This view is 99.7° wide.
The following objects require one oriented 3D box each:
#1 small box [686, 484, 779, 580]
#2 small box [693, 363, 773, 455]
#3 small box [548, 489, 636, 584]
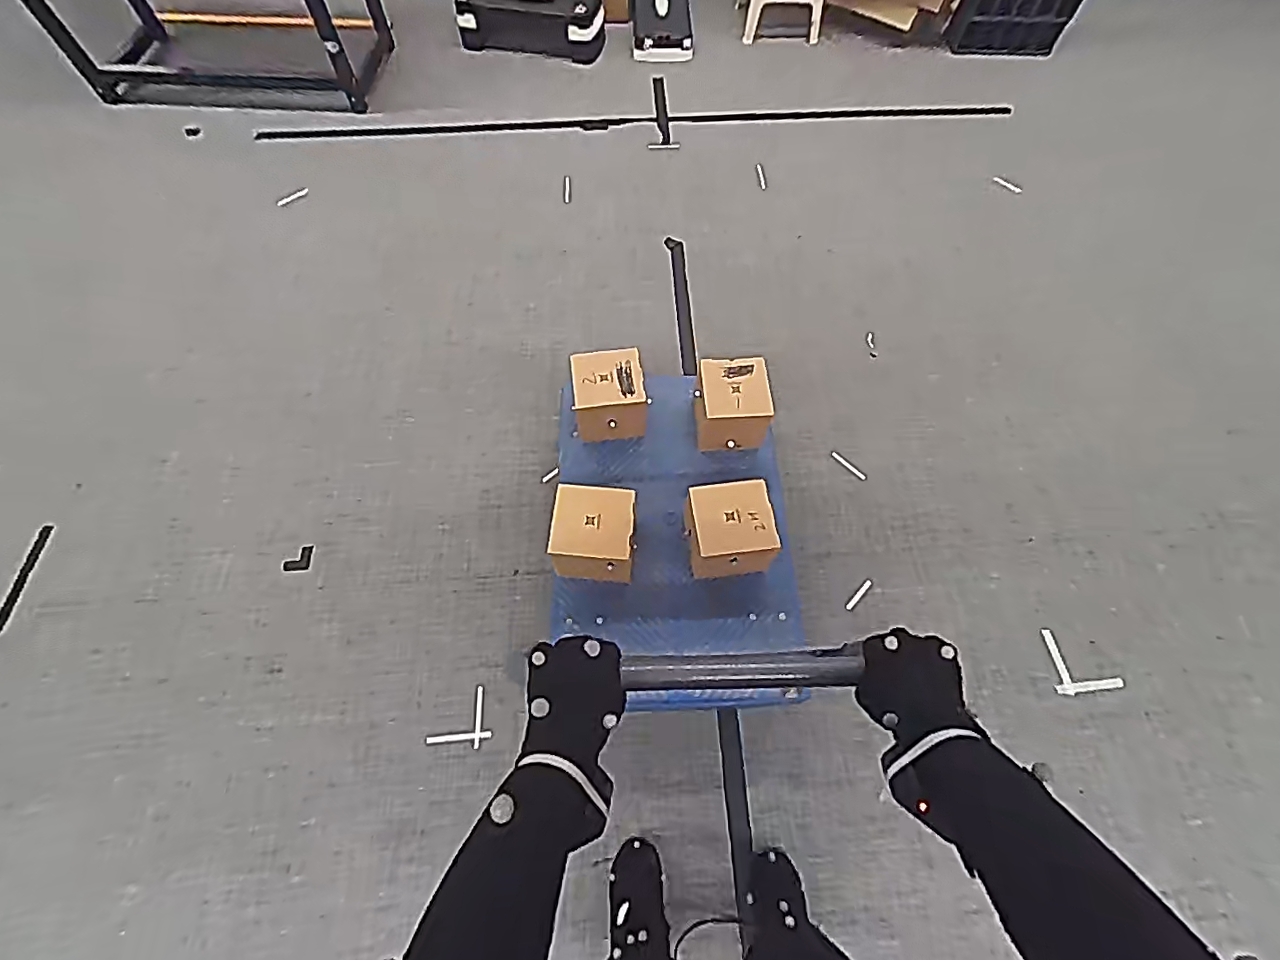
[{"bbox_3d":[0.203,0.126,1.250,0.179,0.176,0.168,-6,64,-3],"label":"small box"},{"bbox_3d":[0.233,-0.182,1.402,0.168,0.176,0.179,-3,65,-2],"label":"small box"},{"bbox_3d":[-0.104,0.135,1.243,0.179,0.176,0.168,5,63,0],"label":"small box"}]
